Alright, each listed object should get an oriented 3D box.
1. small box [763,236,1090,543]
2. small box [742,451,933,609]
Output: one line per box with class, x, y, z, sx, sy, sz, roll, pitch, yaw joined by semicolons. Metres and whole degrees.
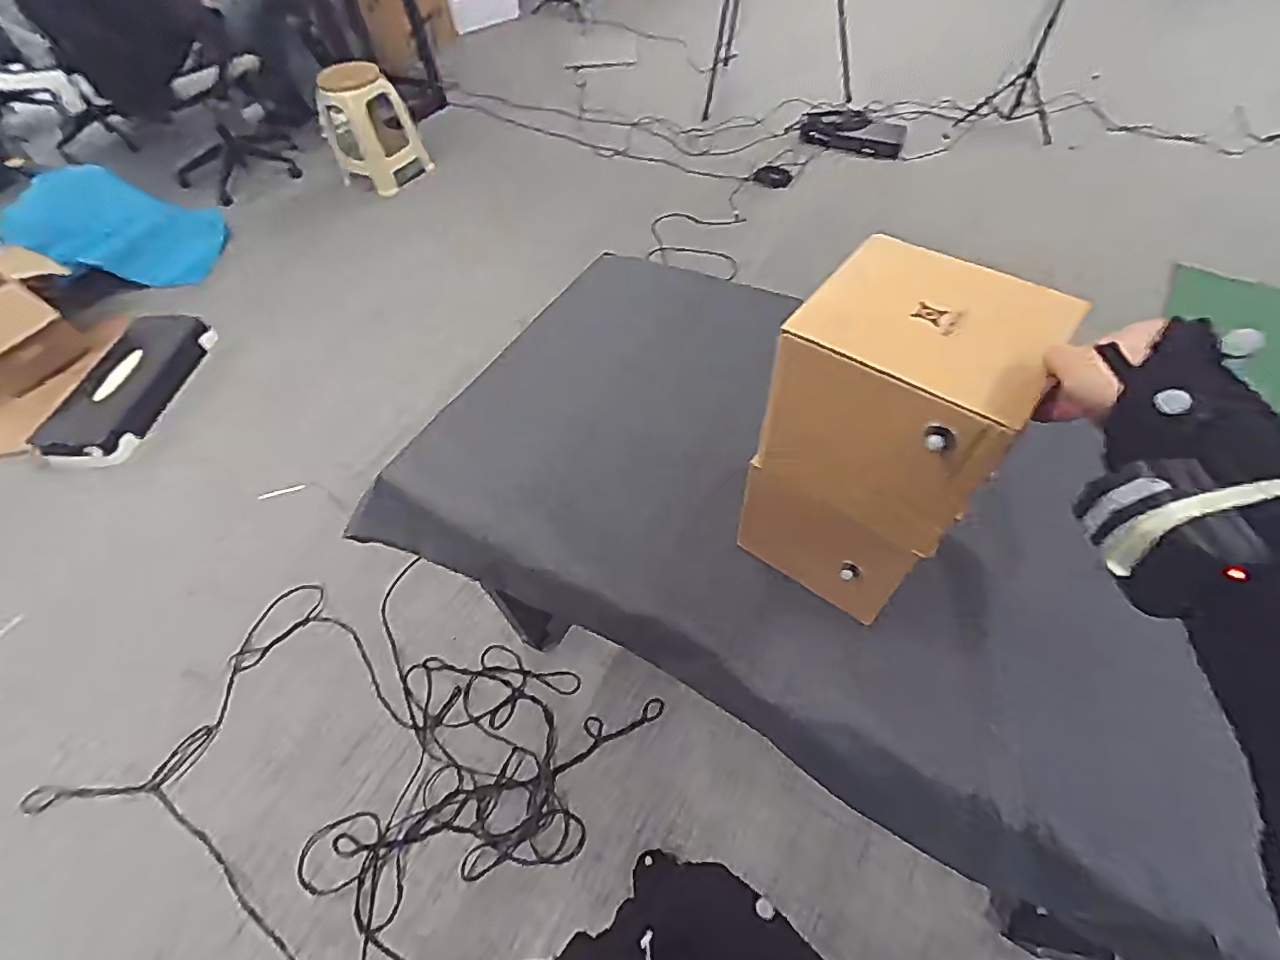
small box;0.228;-0.076;0.472;0.179;0.176;0.168;32;61;23
small box;0.233;0.020;0.604;0.179;0.176;0.168;31;61;24
